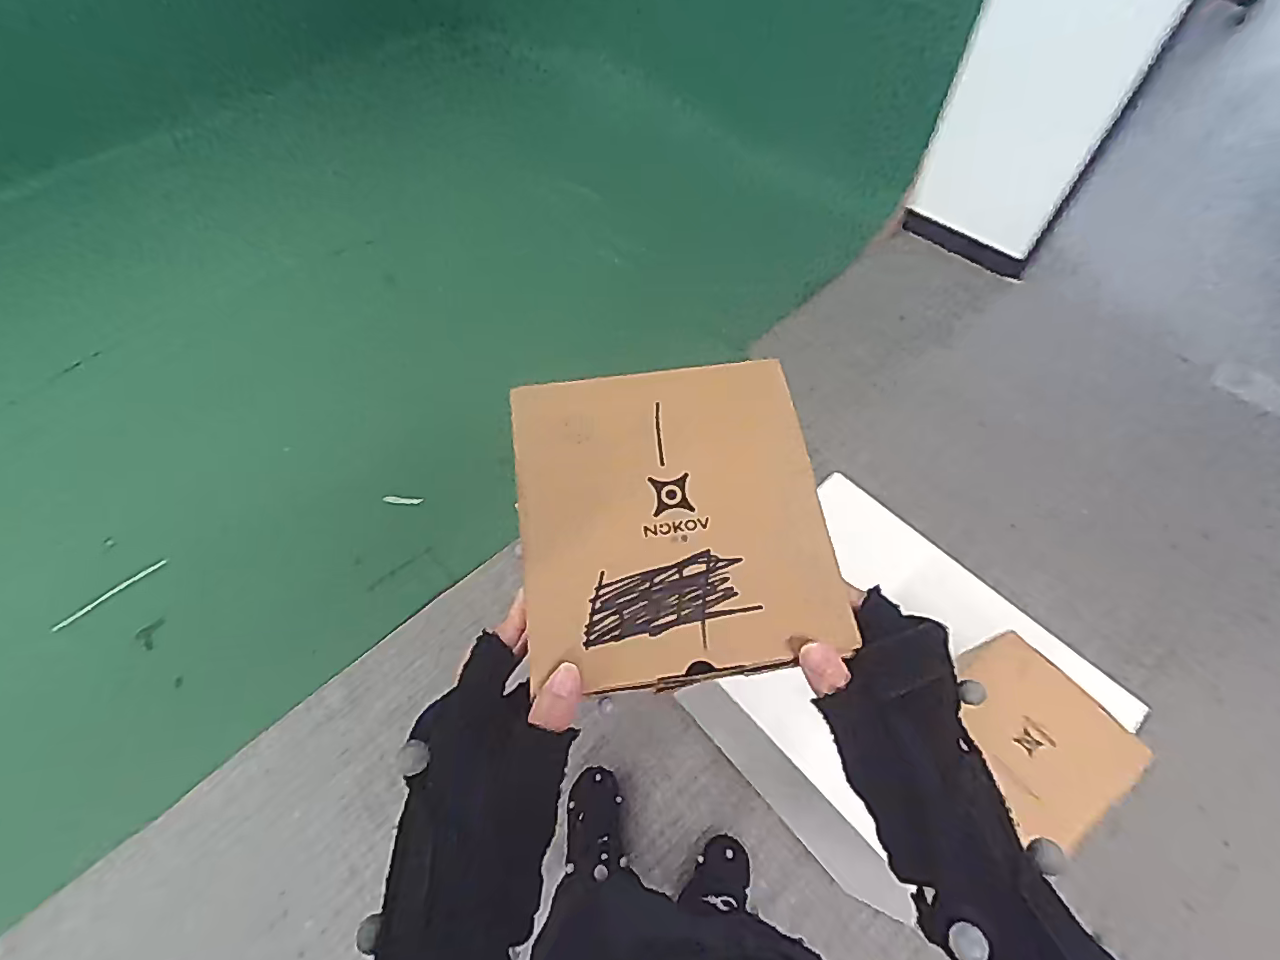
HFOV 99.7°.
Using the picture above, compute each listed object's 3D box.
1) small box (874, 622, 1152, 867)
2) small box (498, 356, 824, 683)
[{"bbox_3d":[0.406,0.299,0.625,0.179,0.176,0.168,-34,62,-14],"label":"small box"},{"bbox_3d":[0.002,0.040,0.376,0.168,0.176,0.179,-6,68,-5],"label":"small box"}]
